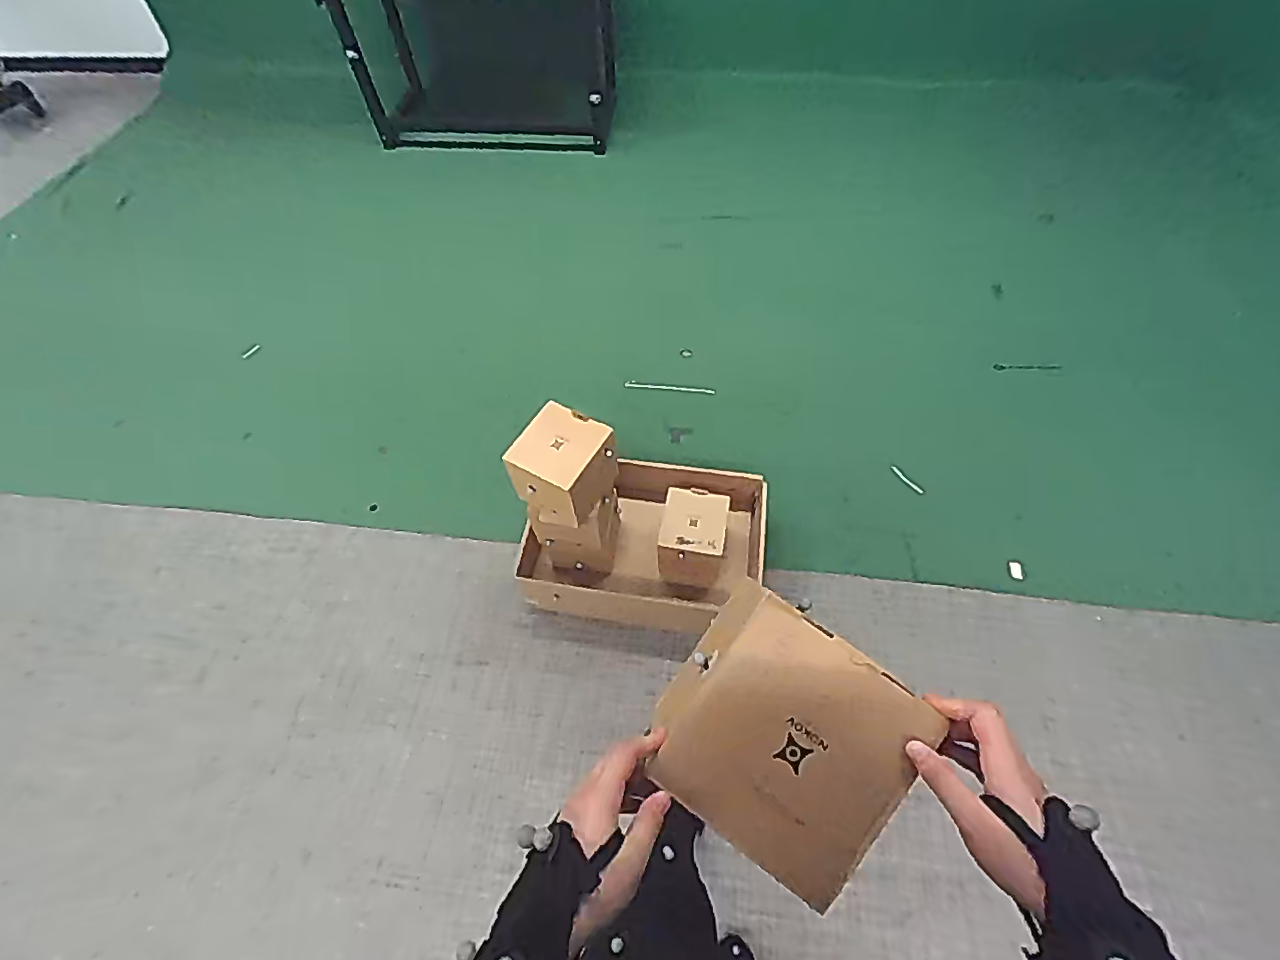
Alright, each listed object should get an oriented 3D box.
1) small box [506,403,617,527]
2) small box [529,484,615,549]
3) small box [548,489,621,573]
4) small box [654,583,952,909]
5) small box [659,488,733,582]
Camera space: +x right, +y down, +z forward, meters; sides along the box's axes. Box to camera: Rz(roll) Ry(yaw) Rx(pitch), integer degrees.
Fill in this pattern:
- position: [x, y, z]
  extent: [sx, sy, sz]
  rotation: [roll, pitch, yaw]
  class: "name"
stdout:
- position: [-0.159, -0.028, 1.173]
  extent: [0.168, 0.176, 0.179]
  rotation: [26, 61, 17]
  class: "small box"
- position: [-0.156, 0.053, 1.314]
  extent: [0.168, 0.176, 0.179]
  rotation: [7, 57, 5]
  class: "small box"
- position: [-0.144, 0.132, 1.458]
  extent: [0.168, 0.176, 0.179]
  rotation: [5, 58, 5]
  class: "small box"
- position: [0.129, 0.211, 0.492]
  extent: [0.168, 0.176, 0.179]
  rotation: [35, 88, 8]
  class: "small box"
- position: [0.147, 0.149, 1.439]
  extent: [0.168, 0.176, 0.179]
  rotation: [10, 59, 9]
  class: "small box"
